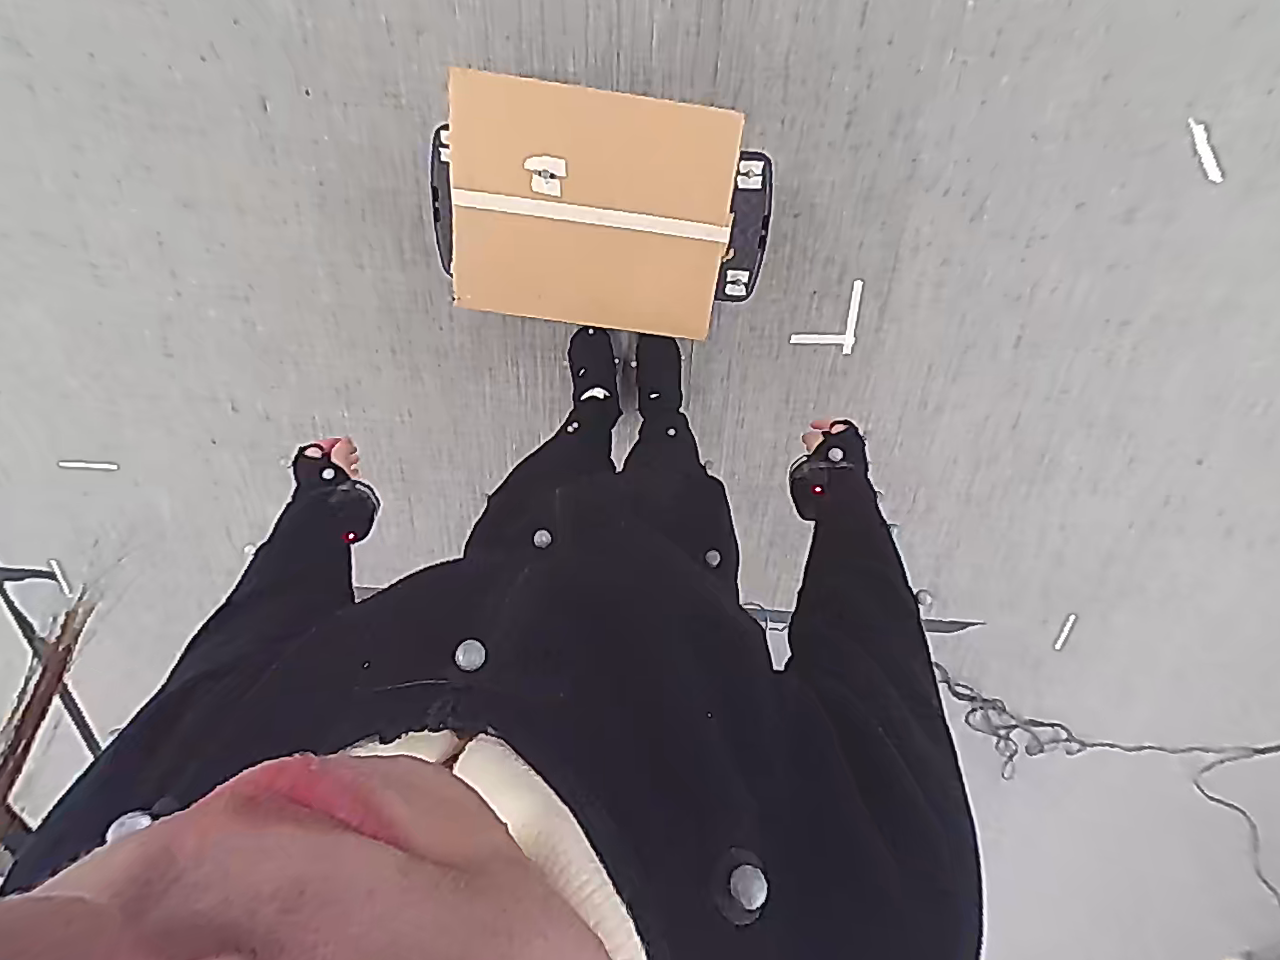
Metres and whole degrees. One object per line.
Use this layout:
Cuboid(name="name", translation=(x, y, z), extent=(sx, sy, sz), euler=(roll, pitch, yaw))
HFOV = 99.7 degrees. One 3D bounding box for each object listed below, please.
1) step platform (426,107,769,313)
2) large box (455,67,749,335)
Cuboid(name="step platform", translation=(-0.084, -0.551, 1.133), extent=(0.684, 0.204, 0.286), euler=(9, 115, -3))
Cuboid(name="large box", translation=(-0.060, -0.450, 0.916), extent=(0.408, 0.320, 0.320), euler=(7, 114, -2))
